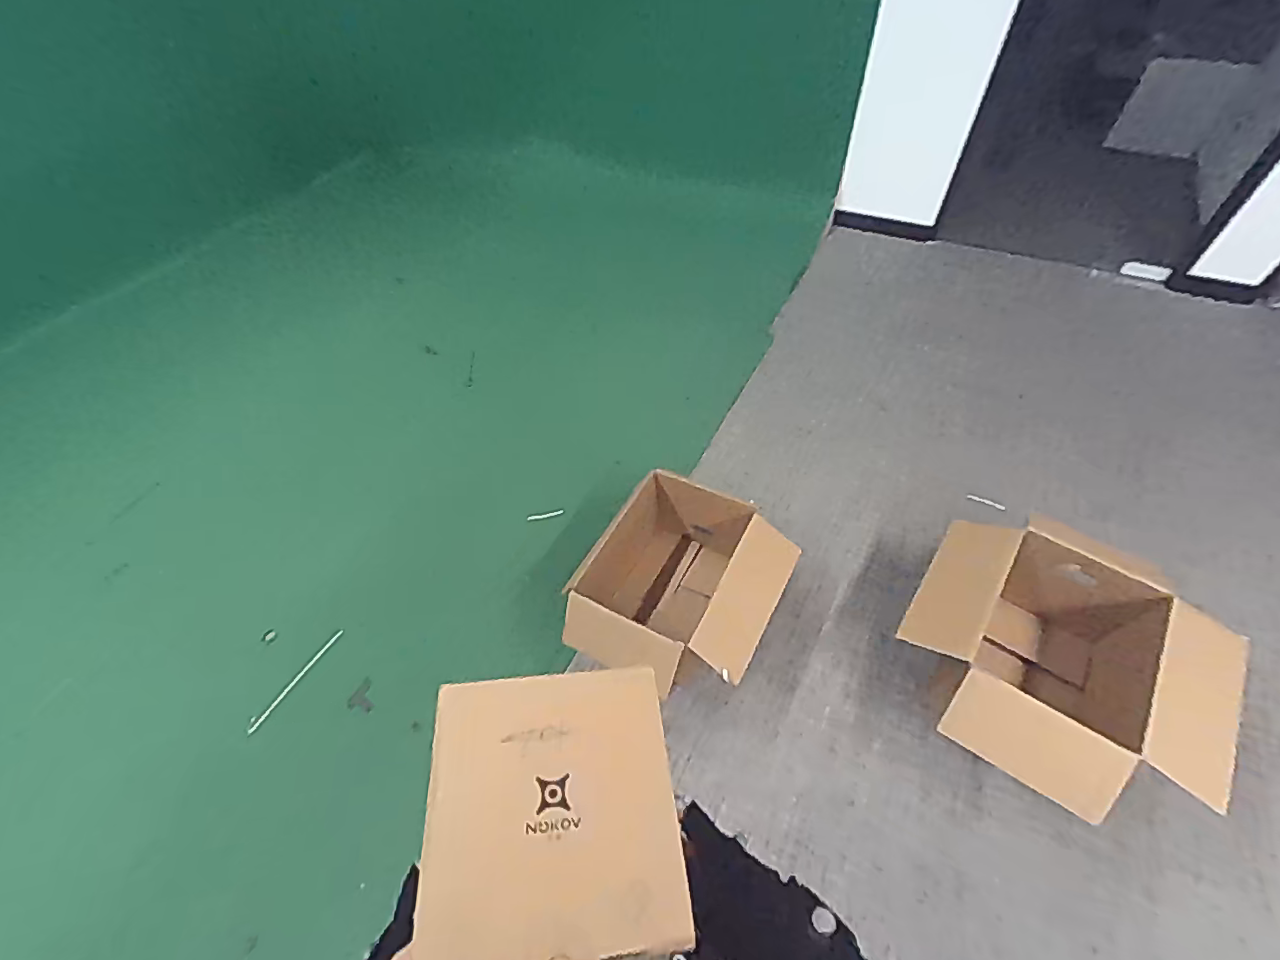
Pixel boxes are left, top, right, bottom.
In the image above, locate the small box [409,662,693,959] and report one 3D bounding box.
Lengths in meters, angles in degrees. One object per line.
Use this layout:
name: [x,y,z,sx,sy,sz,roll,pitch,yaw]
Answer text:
small box: [-0.067,0.264,0.418,0.168,0.176,0.179,-2,48,-11]
